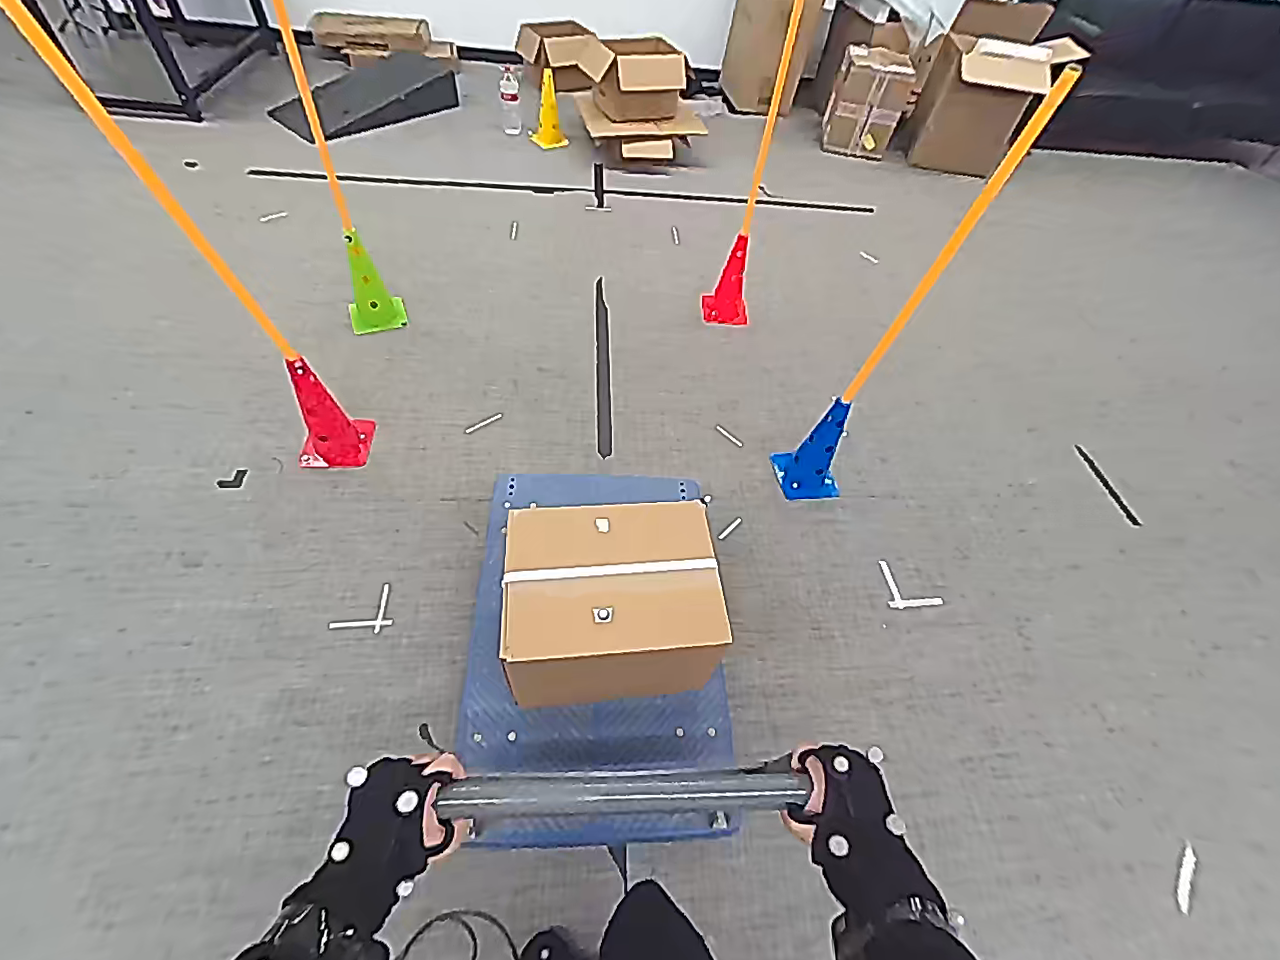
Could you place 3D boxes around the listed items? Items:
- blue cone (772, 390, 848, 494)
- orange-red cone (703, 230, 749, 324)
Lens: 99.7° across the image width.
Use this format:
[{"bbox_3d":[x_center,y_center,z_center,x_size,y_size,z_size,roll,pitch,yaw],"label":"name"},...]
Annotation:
[{"bbox_3d":[0.581,-0.130,1.733,0.193,0.380,0.192,-3,52,-10],"label":"blue cone"},{"bbox_3d":[0.392,-0.860,2.245,0.199,0.360,0.198,6,53,-4],"label":"orange-red cone"}]
